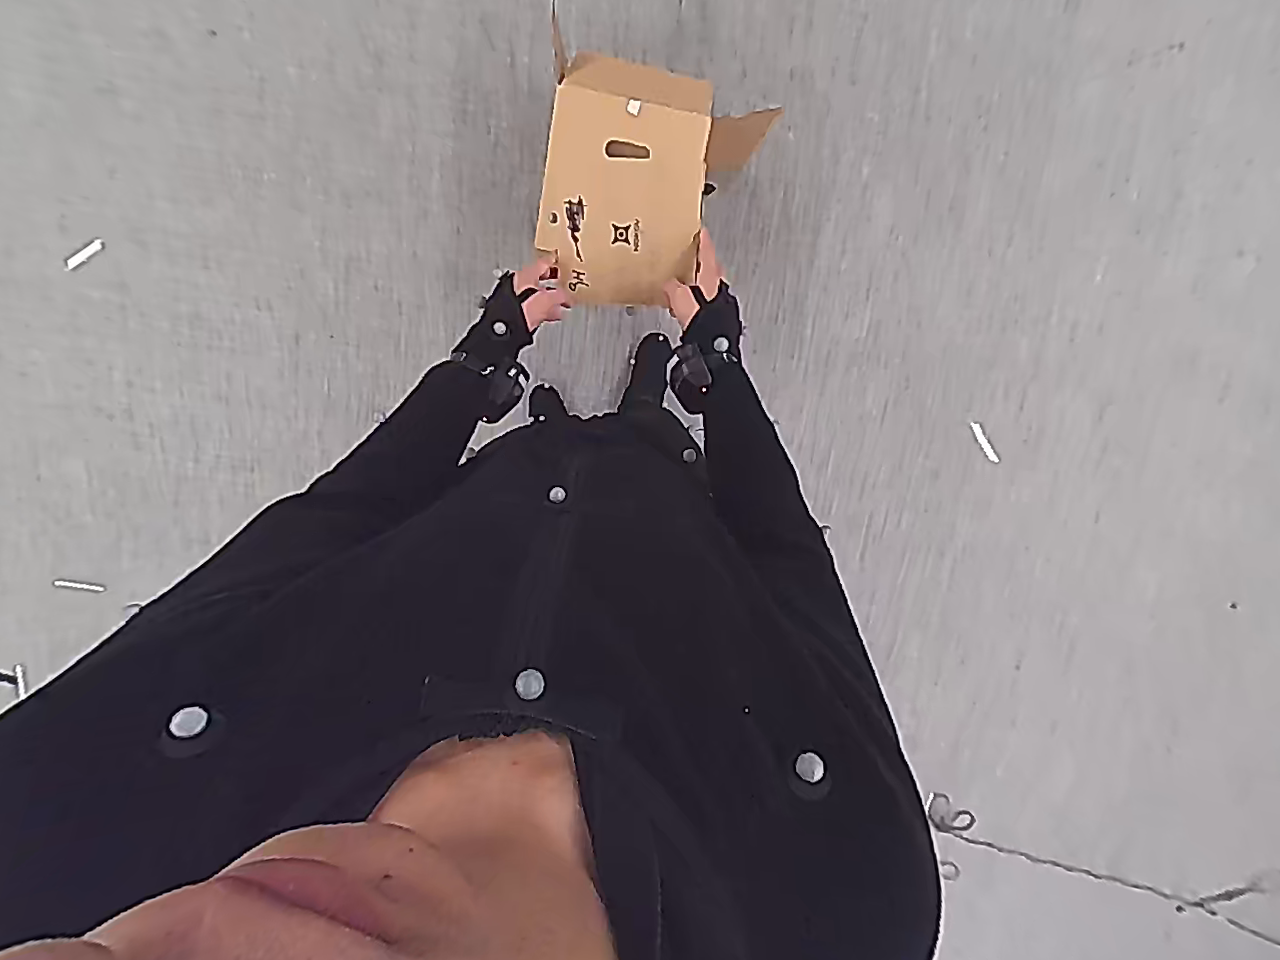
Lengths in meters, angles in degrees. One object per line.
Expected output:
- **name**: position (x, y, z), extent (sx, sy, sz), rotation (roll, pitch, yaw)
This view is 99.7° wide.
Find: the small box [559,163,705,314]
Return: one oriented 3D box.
- **small box**: position (-0.012, -0.324, 0.742), extent (0.179, 0.176, 0.168), rotation (3, 111, 1)
